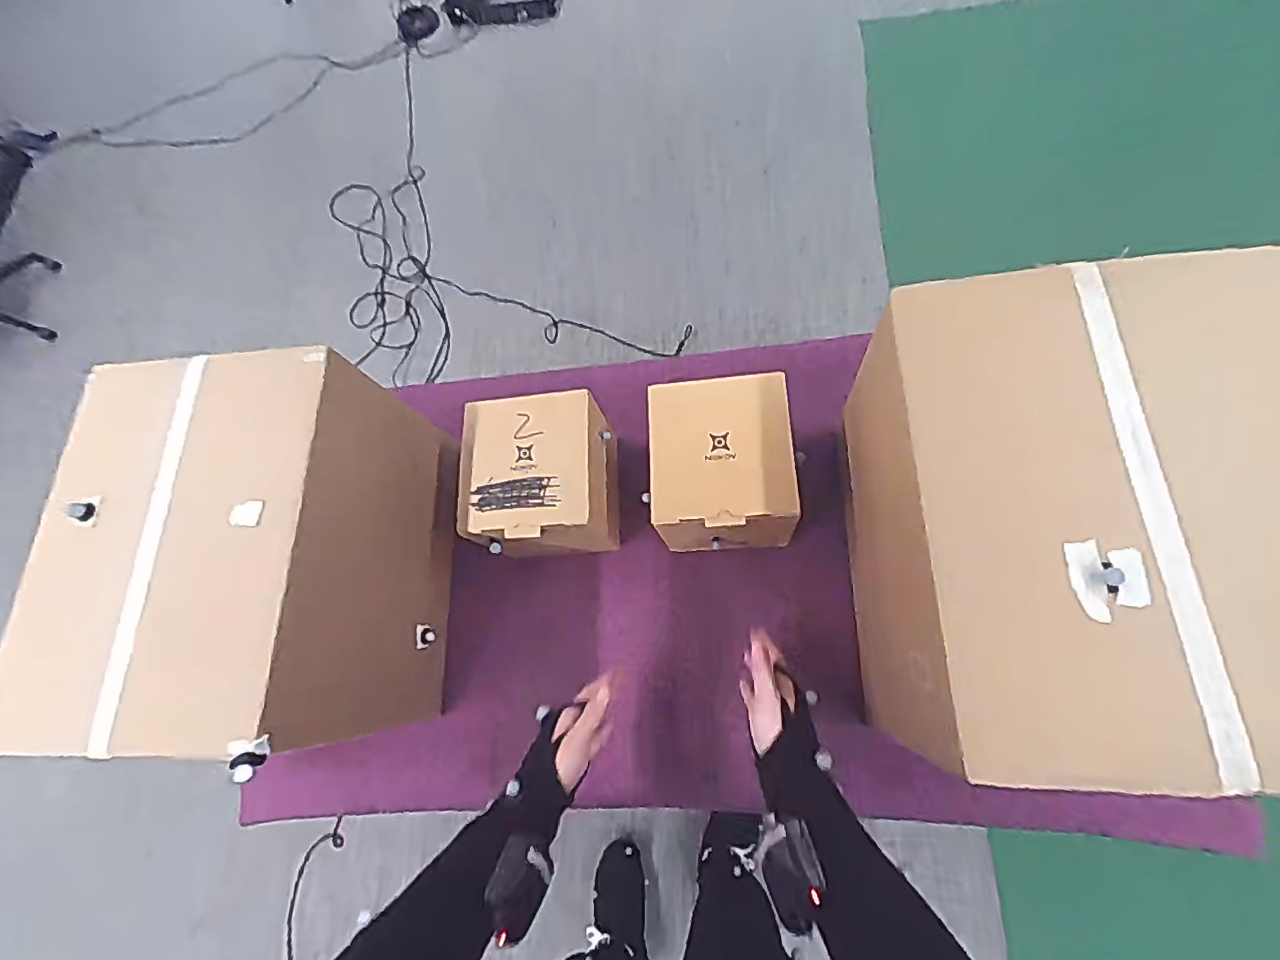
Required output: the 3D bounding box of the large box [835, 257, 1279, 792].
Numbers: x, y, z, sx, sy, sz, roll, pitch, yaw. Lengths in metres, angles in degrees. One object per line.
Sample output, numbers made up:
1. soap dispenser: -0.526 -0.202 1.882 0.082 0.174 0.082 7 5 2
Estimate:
1. large box: 0.405 0.055 0.548 0.320 0.320 0.408 -3 72 10
